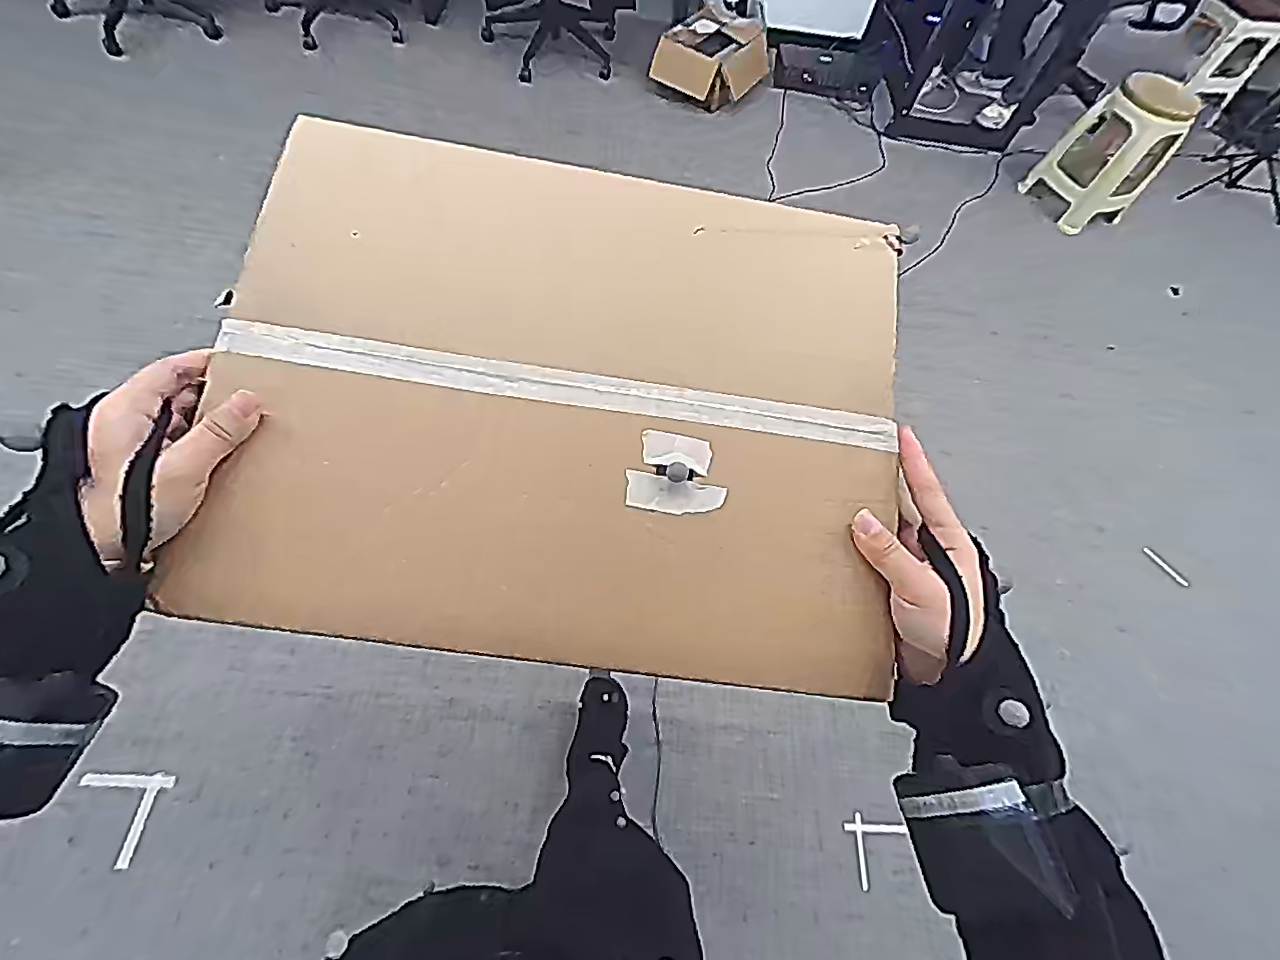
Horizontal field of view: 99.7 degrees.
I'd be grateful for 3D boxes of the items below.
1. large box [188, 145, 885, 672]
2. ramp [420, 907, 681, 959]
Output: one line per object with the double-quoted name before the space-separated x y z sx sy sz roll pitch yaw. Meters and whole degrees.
"large box" -0.053 -0.023 0.488 0.408 0.320 0.320 8 77 -4
"ramp" -0.190 1.232 0.737 0.509 0.206 0.991 5 60 -3
